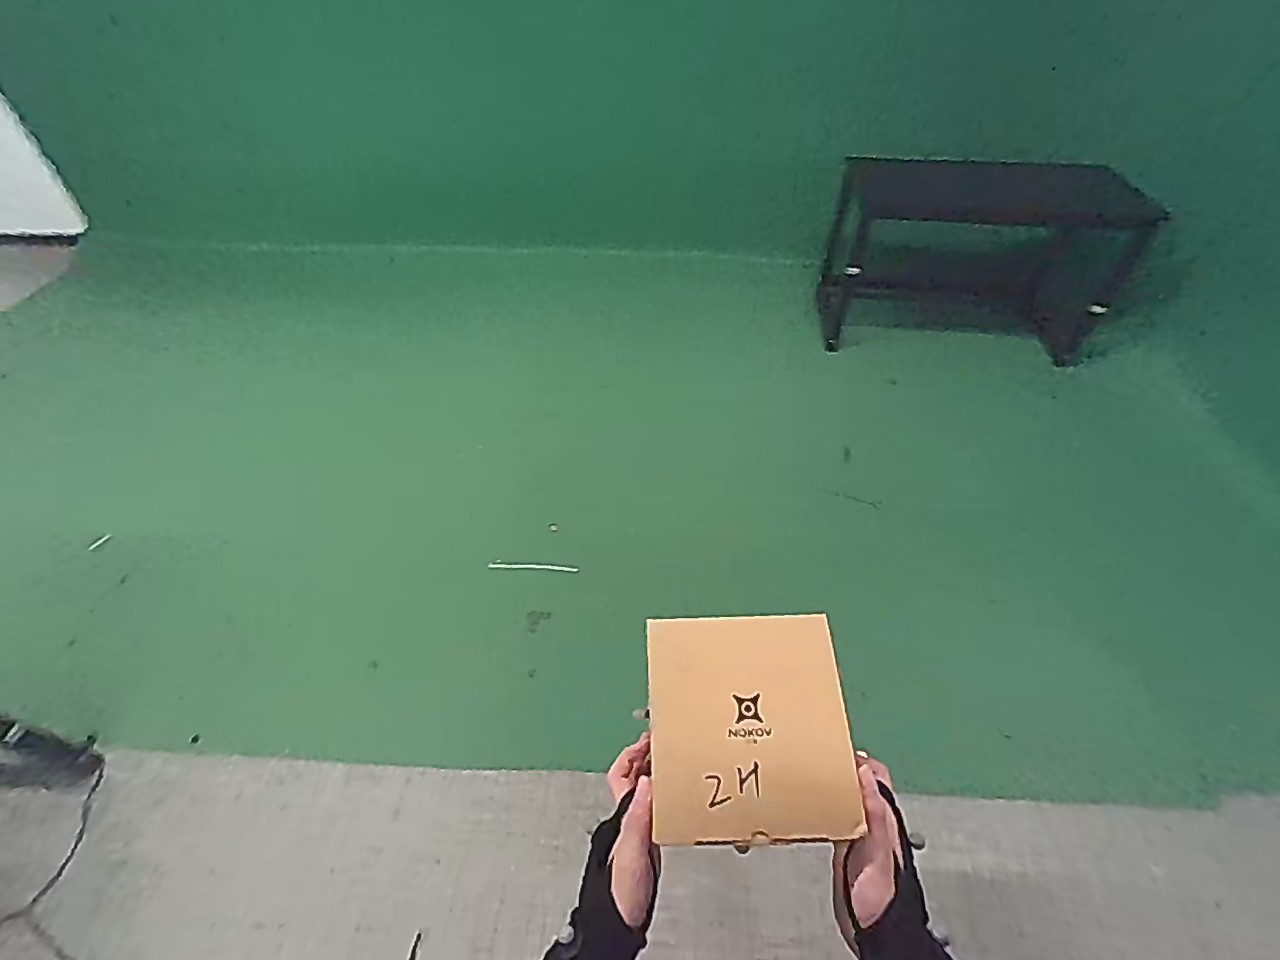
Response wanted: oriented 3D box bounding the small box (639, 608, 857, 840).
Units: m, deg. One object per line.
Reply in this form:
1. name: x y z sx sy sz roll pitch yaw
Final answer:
1. small box: 0.082 0.232 0.515 0.168 0.176 0.179 -2 61 1
